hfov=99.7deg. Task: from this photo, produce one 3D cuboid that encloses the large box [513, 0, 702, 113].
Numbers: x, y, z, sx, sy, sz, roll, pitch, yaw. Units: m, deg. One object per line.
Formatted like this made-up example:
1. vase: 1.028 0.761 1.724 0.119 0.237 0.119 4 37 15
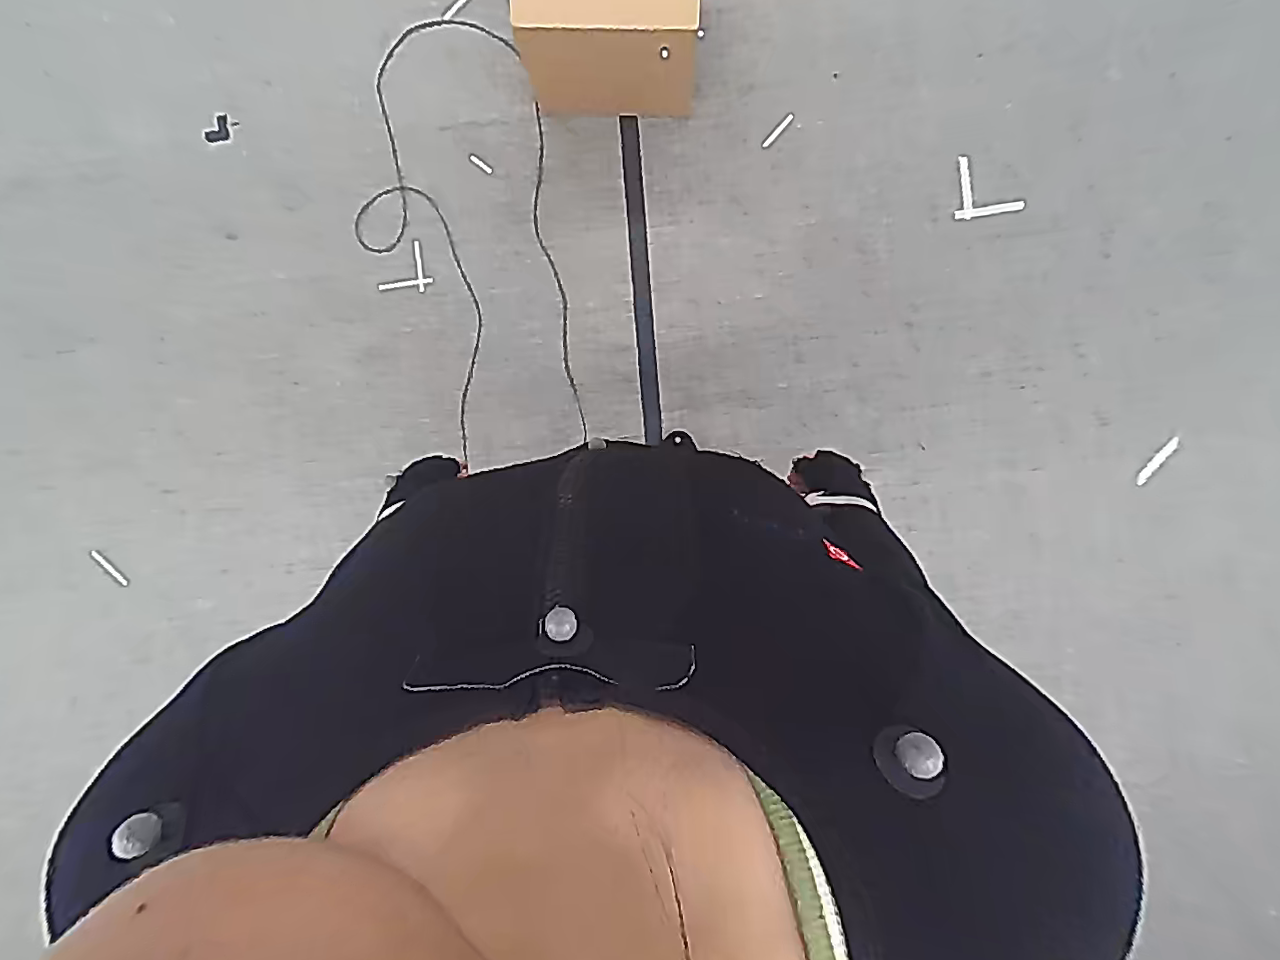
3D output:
1. large box: -0.062 -1.115 1.277 0.408 0.320 0.320 2 94 2
